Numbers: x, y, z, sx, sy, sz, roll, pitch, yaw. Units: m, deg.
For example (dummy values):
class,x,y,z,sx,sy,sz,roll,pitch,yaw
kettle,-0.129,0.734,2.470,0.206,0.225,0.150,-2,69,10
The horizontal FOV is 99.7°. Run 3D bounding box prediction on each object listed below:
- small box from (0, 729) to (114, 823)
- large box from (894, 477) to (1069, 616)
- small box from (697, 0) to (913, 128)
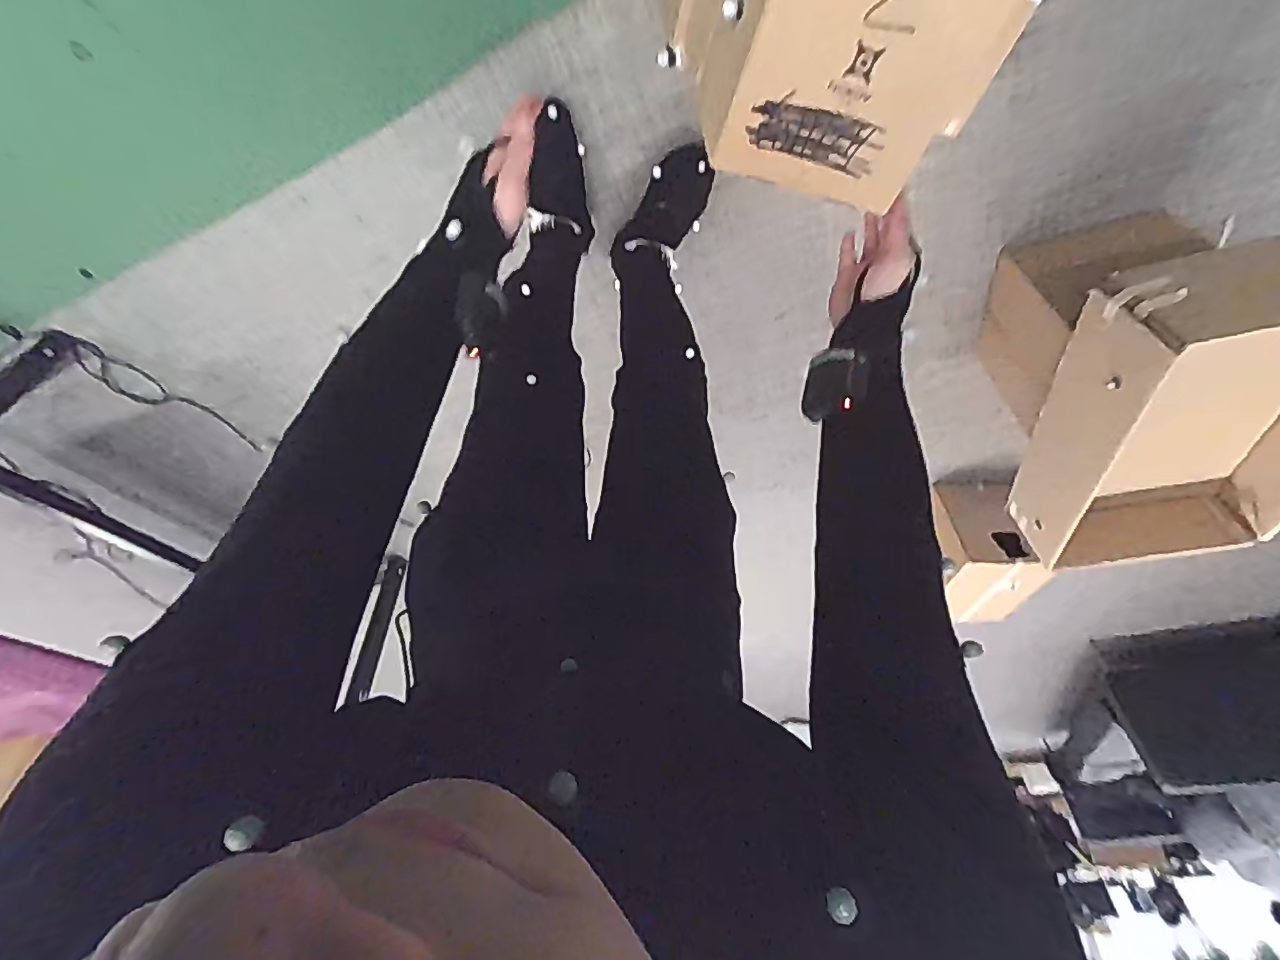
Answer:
class,x,y,z,sx,sy,sz,roll,pitch,yaw
small box,-1.482,0.736,1.343,0.179,0.176,0.168,-17,137,17
large box,1.129,0.234,1.851,0.320,0.320,0.408,-1,140,-1
small box,0.163,-0.499,0.539,0.168,0.176,0.179,9,140,-14
